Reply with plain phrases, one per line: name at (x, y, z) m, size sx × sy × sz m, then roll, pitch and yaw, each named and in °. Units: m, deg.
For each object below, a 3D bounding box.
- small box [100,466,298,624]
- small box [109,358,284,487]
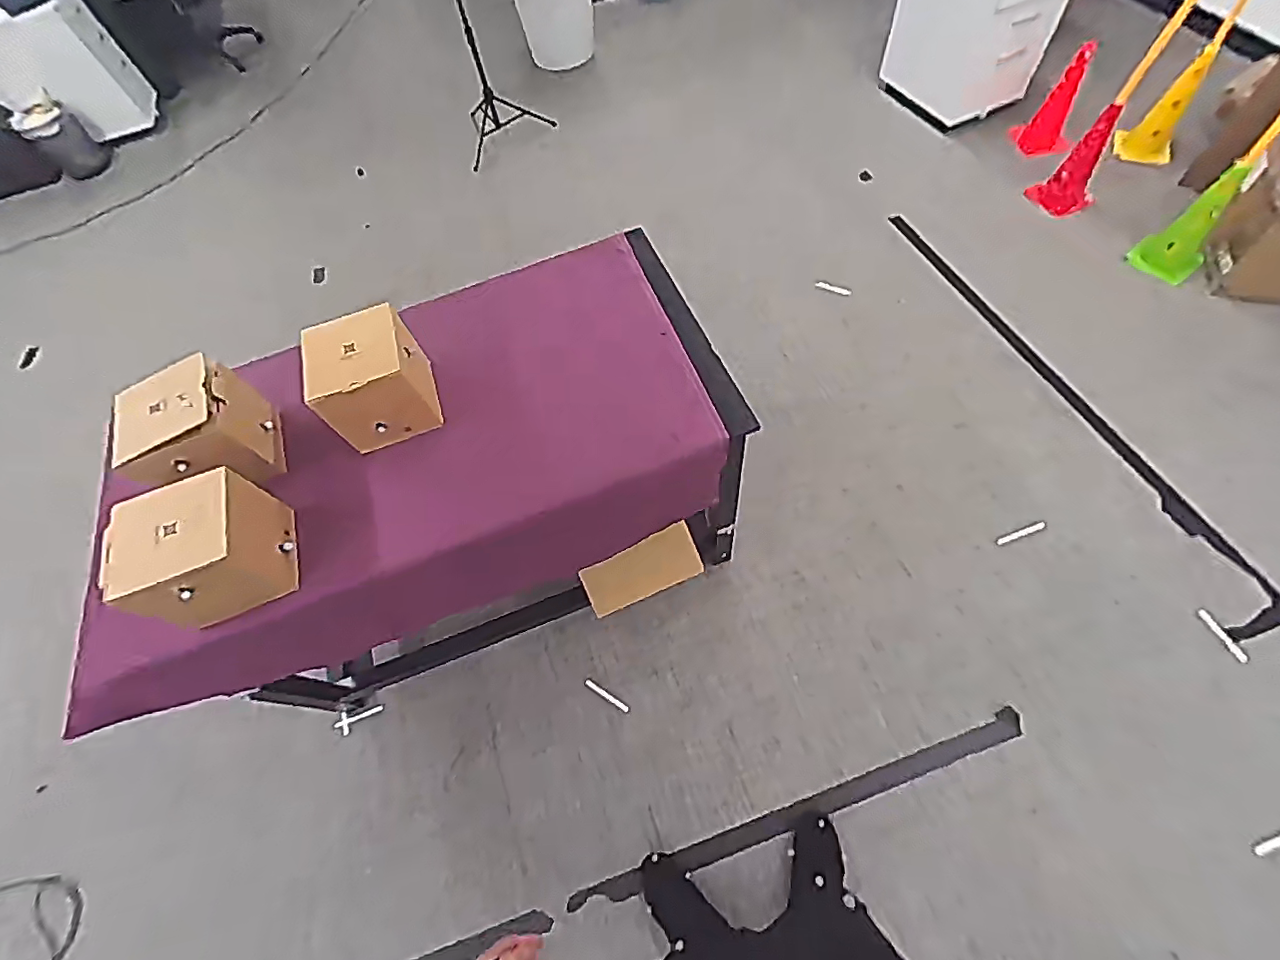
small box at (-0.687, 0.110, 0.862) m, size 0.179 × 0.176 × 0.168 m, roll -21°, pitch 62°, yaw -5°
small box at (-0.786, -0.081, 0.973) m, size 0.179 × 0.176 × 0.168 m, roll -23°, pitch 63°, yaw -7°
